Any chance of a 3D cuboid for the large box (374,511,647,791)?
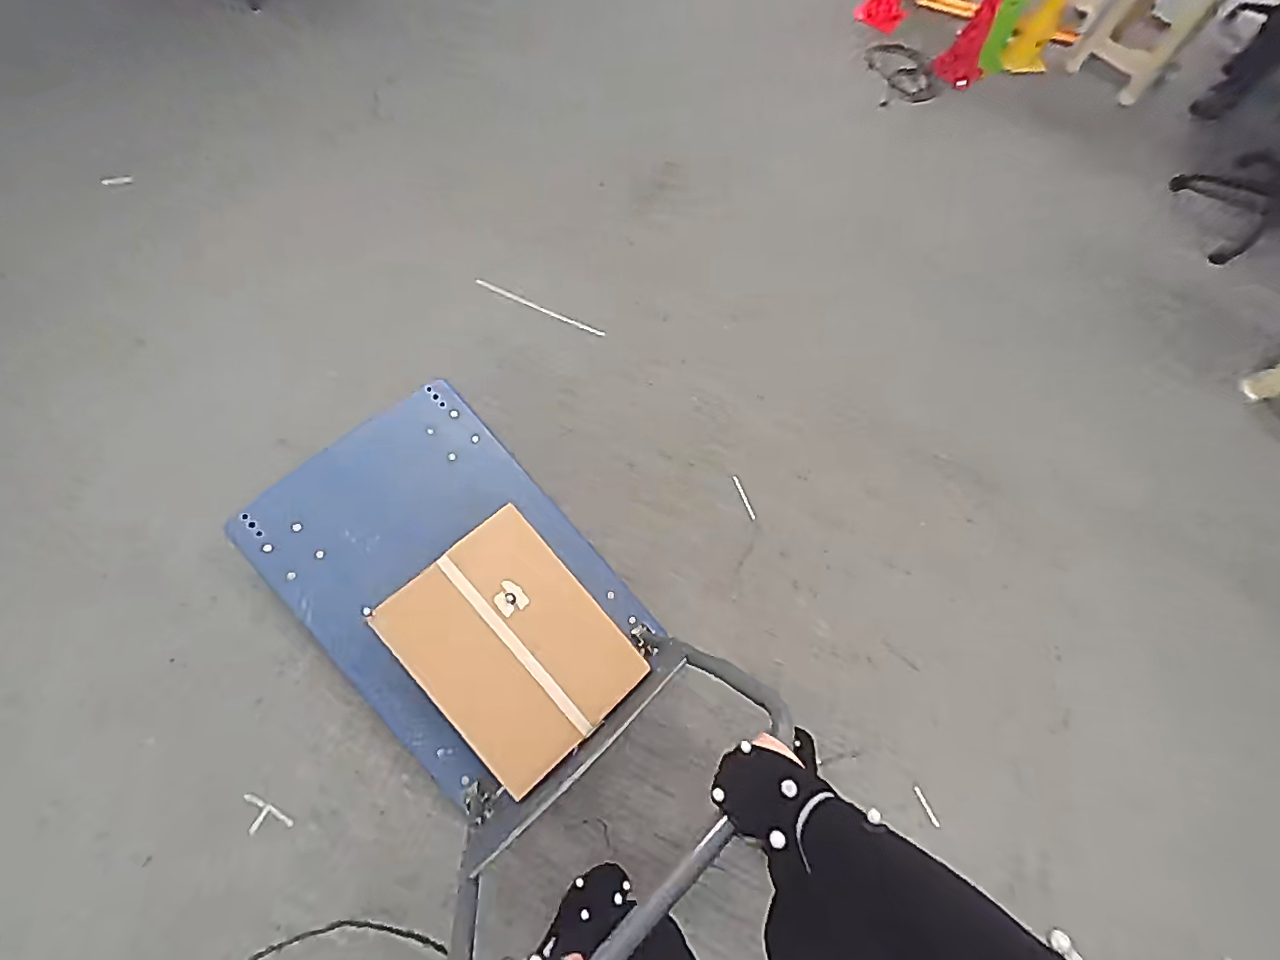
[{"bbox_3d":[-0.249,0.328,1.117,0.320,0.320,0.408,-41,88,-16],"label":"large box"}]
